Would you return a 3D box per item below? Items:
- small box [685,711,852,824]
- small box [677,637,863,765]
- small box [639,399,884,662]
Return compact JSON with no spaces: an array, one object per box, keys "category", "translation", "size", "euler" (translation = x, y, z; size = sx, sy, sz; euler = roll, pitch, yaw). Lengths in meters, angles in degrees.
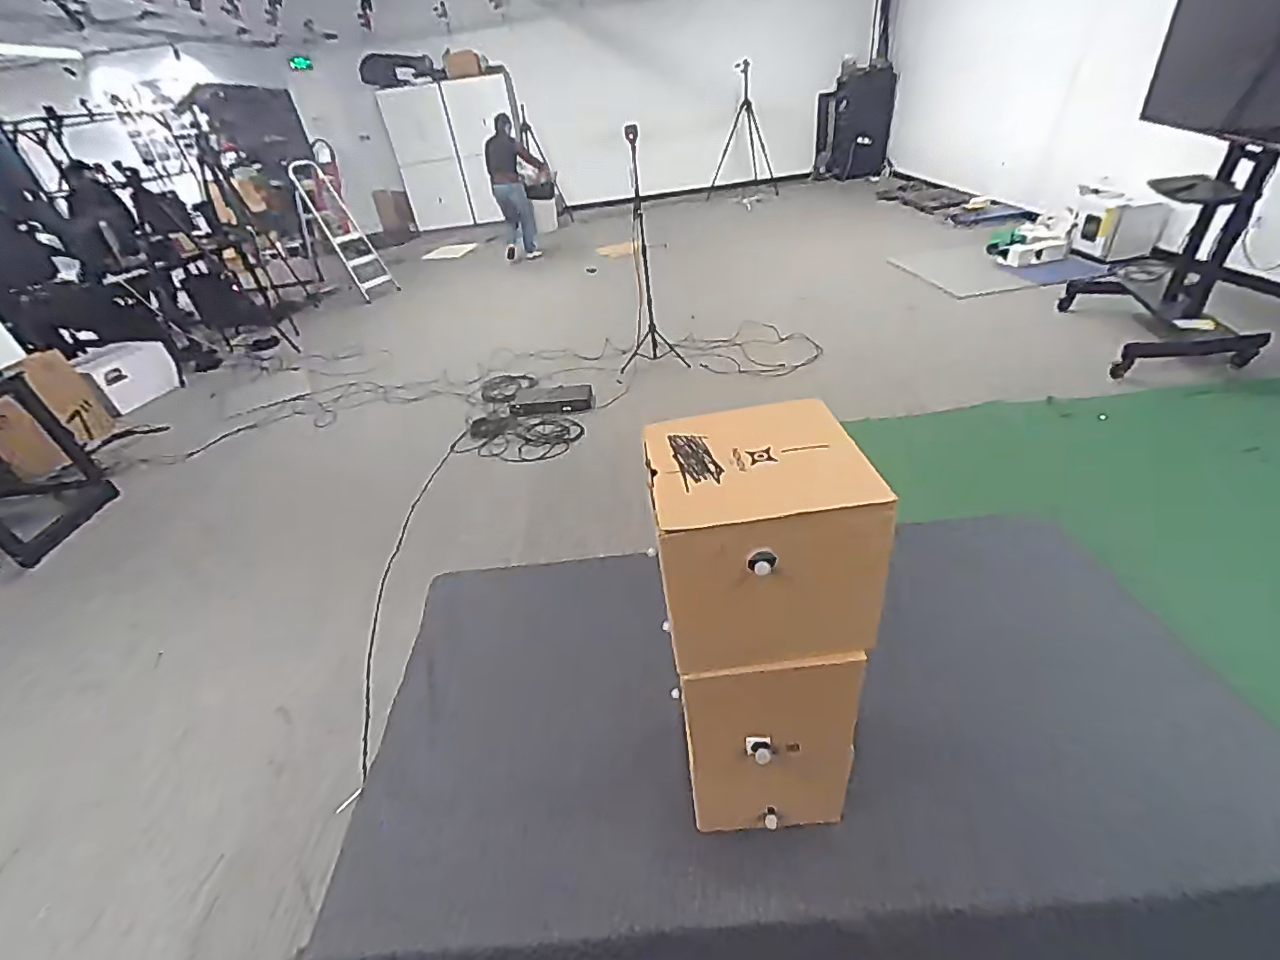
[{"category":"small box","translation":[0.147,0.310,0.686],"size":[0.179,0.176,0.168],"euler":[-6,35,3]},{"category":"small box","translation":[0.125,0.180,0.592],"size":[0.168,0.176,0.179],"euler":[-8,36,4]},{"category":"small box","translation":[0.100,0.047,0.499],"size":[0.179,0.176,0.168],"euler":[-8,35,2]}]
